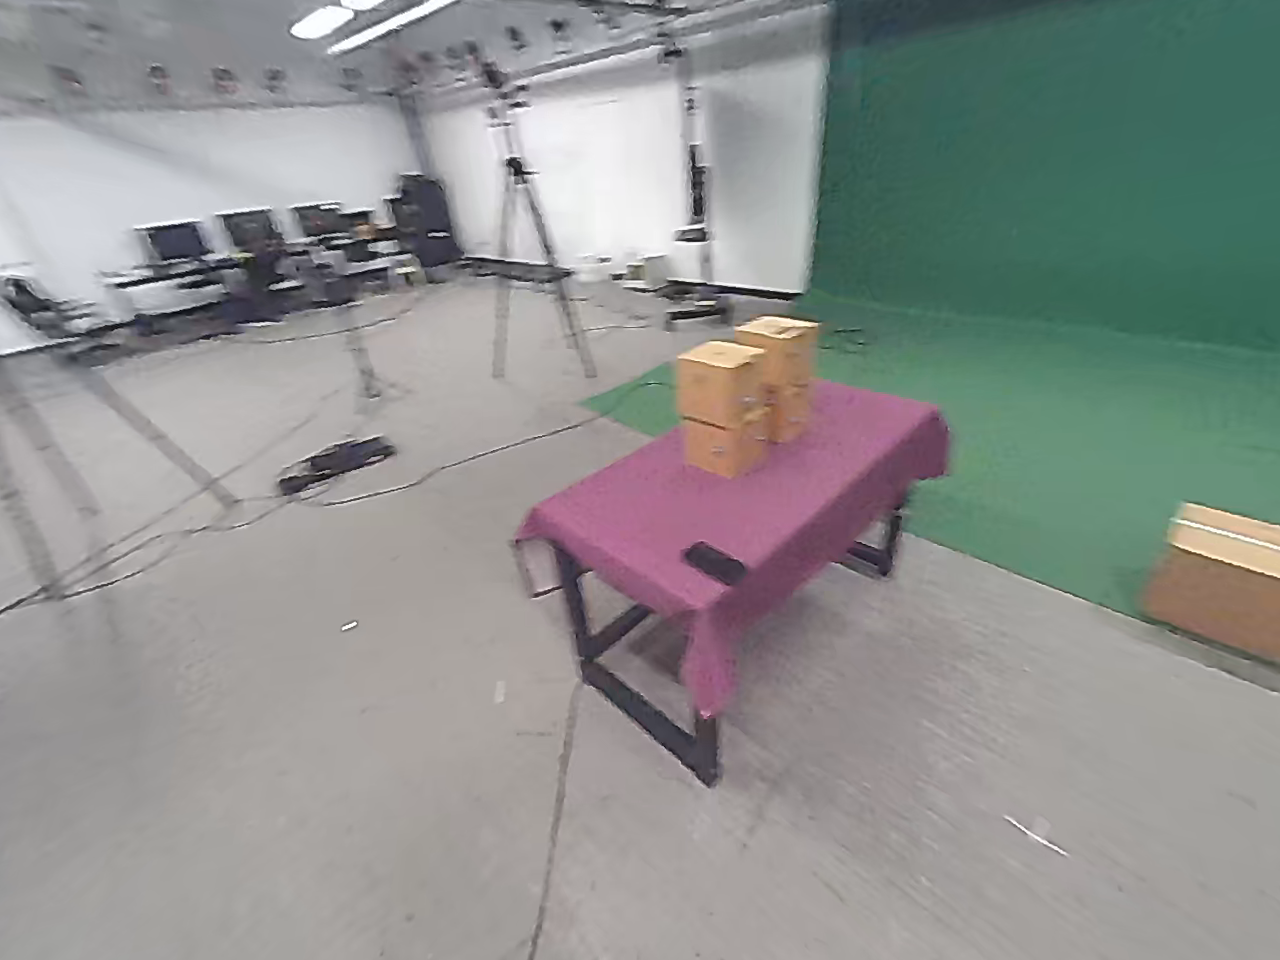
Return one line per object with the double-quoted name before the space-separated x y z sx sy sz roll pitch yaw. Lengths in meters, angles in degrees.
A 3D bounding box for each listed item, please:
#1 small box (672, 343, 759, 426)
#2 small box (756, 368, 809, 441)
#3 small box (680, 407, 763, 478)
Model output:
"small box" 0.208 -0.262 1.483 0.179 0.176 0.168 23 42 38
"small box" 0.416 -0.240 1.727 0.179 0.176 0.168 25 43 38
"small box" 0.237 -0.123 1.569 0.179 0.176 0.168 23 41 39
